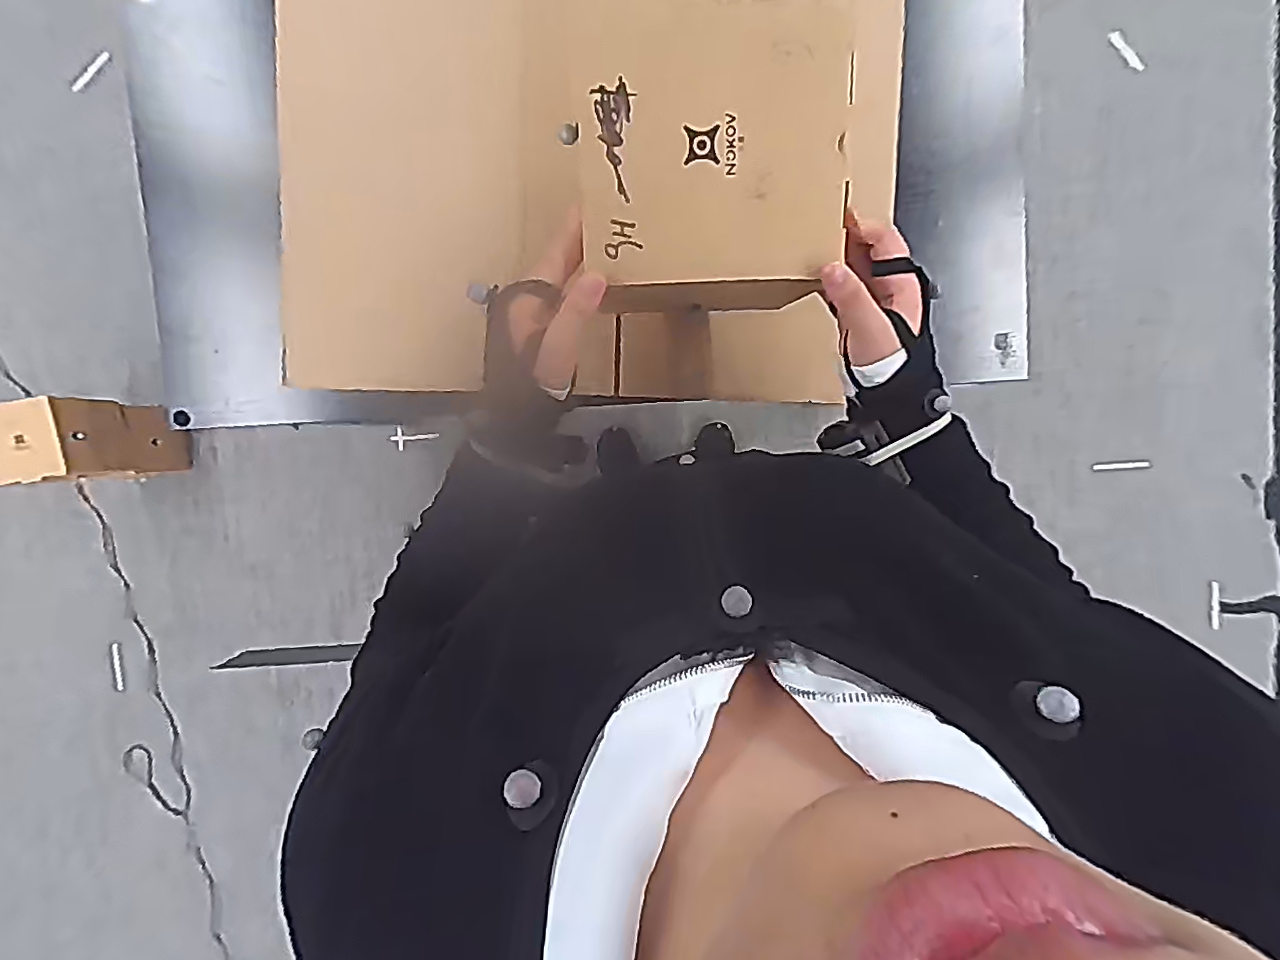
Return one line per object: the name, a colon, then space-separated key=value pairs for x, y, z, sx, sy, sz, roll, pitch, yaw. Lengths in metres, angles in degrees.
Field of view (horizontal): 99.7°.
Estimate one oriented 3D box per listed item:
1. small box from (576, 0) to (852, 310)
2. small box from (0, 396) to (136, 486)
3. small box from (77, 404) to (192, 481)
small box: x=0.044 y=-0.231 z=0.426 sx=0.179 sy=0.176 sz=0.168 roll=-2 pitch=100 yaw=-2
small box: x=-1.329 y=-0.090 z=1.250 sx=0.168 sy=0.176 sz=0.179 roll=-10 pitch=93 yaw=0
small box: x=-1.329 y=-0.096 z=1.413 sx=0.168 sy=0.176 sz=0.179 roll=-8 pitch=95 yaw=1
